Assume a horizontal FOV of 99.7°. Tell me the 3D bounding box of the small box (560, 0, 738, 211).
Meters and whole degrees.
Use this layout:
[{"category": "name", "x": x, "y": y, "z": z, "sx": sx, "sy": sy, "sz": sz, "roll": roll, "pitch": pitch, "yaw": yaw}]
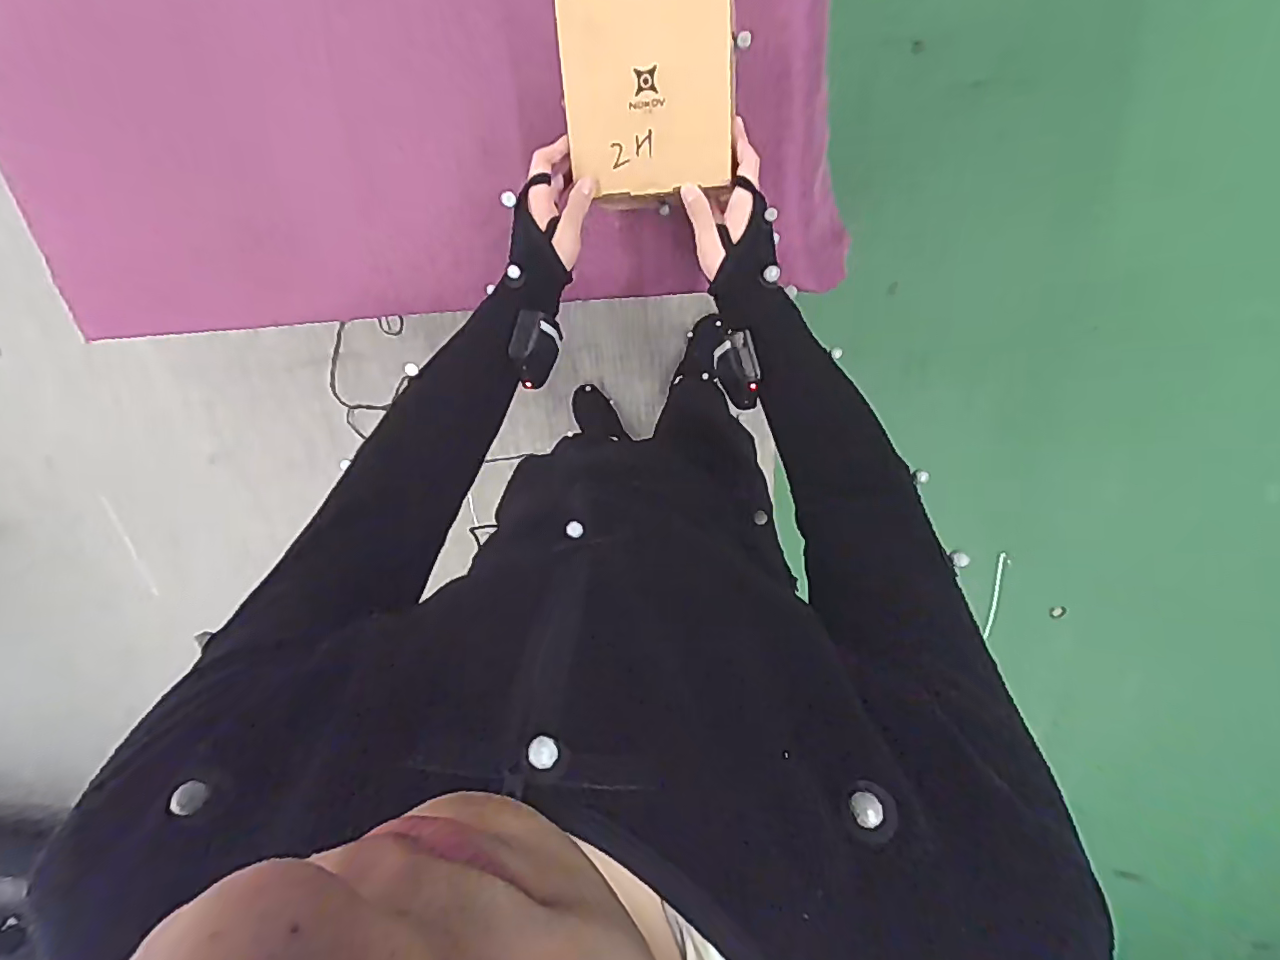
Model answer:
[{"category": "small box", "x": 0.022, "y": -0.405, "z": 0.597, "sx": 0.168, "sy": 0.176, "sz": 0.179, "roll": 1, "pitch": 113, "yaw": 11}]
